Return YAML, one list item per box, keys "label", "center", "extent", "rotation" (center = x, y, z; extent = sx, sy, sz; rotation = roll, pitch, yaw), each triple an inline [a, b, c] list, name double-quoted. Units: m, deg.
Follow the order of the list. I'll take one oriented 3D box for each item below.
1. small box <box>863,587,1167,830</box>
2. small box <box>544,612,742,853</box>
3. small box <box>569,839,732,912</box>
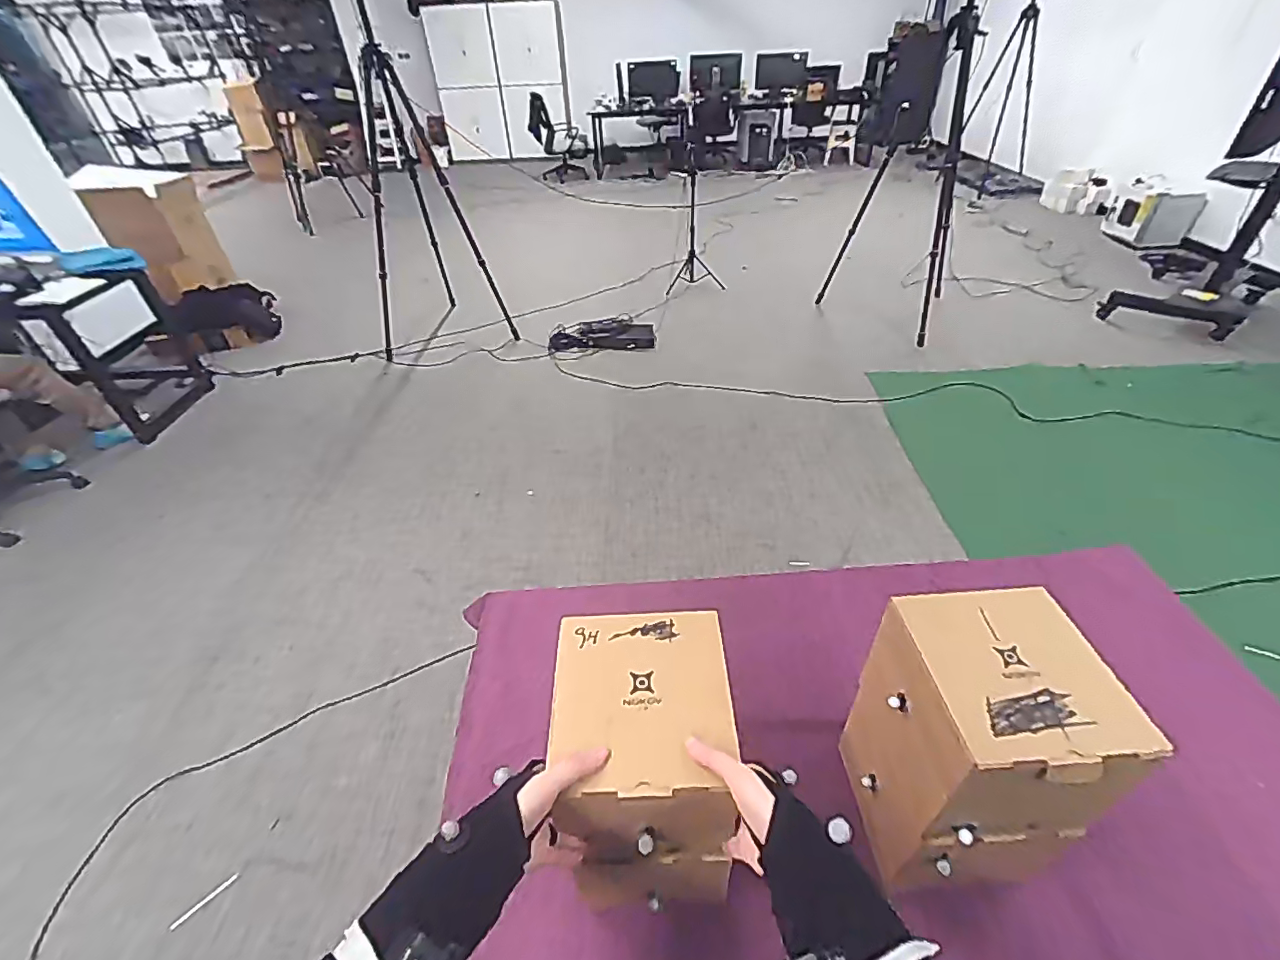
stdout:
- label: "small box"
  center: [0.351, 0.236, 0.554]
  extent: [0.168, 0.176, 0.179]
  rotation: [-4, 38, 0]
- label: "small box"
  center: [0.005, 0.259, 0.550]
  extent: [0.168, 0.176, 0.179]
  rotation: [-3, 41, 0]
- label: "small box"
  center: [0.012, 0.388, 0.652]
  extent: [0.168, 0.176, 0.179]
  rotation: [-3, 39, 1]
